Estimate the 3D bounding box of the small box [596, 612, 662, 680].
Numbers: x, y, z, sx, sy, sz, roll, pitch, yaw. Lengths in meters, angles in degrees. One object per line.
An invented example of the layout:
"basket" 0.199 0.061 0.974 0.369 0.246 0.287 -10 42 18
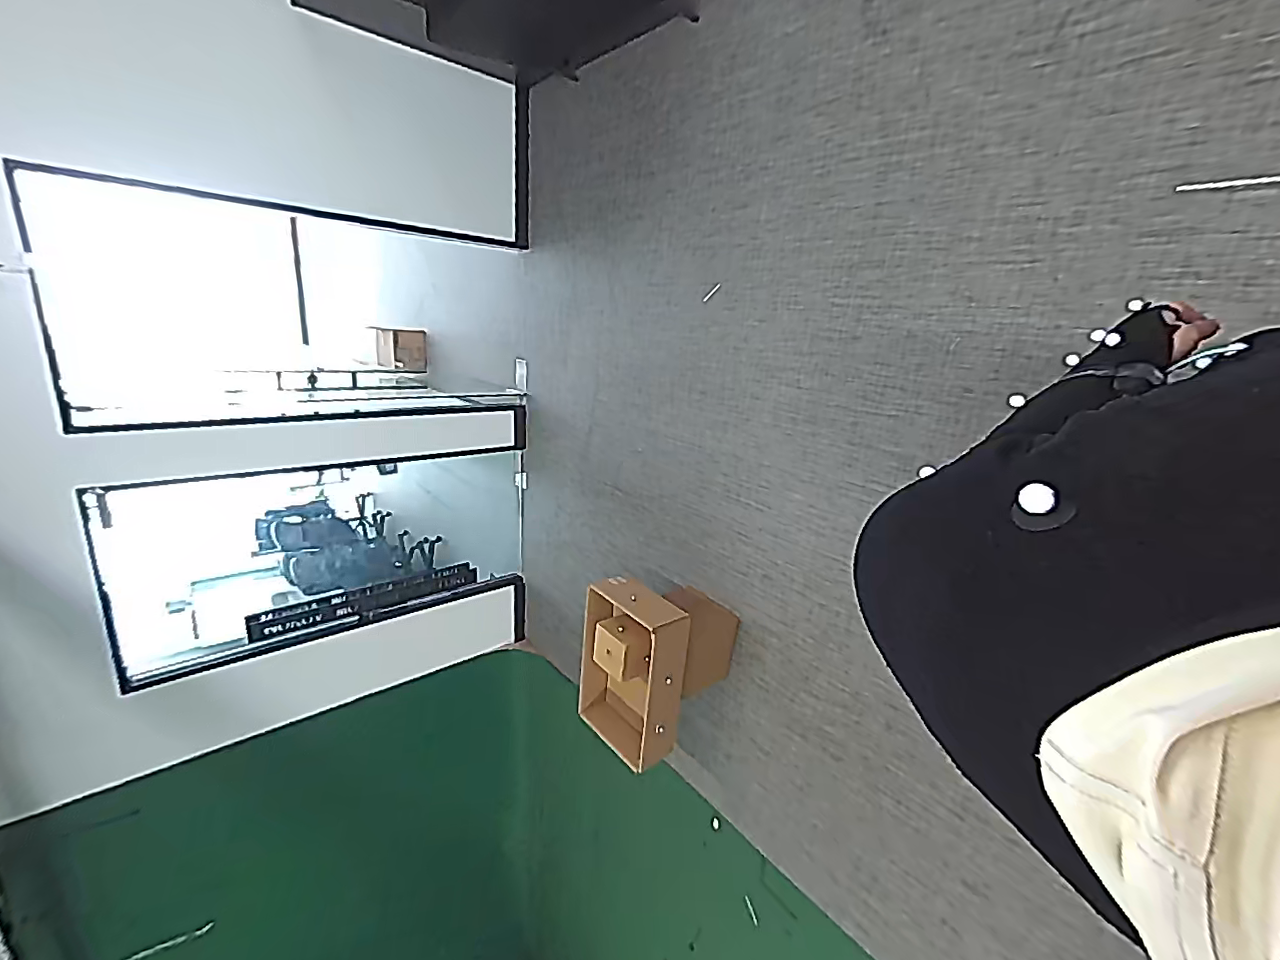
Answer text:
"small box" -0.044 0.618 2.048 0.179 0.176 0.168 24 114 45
